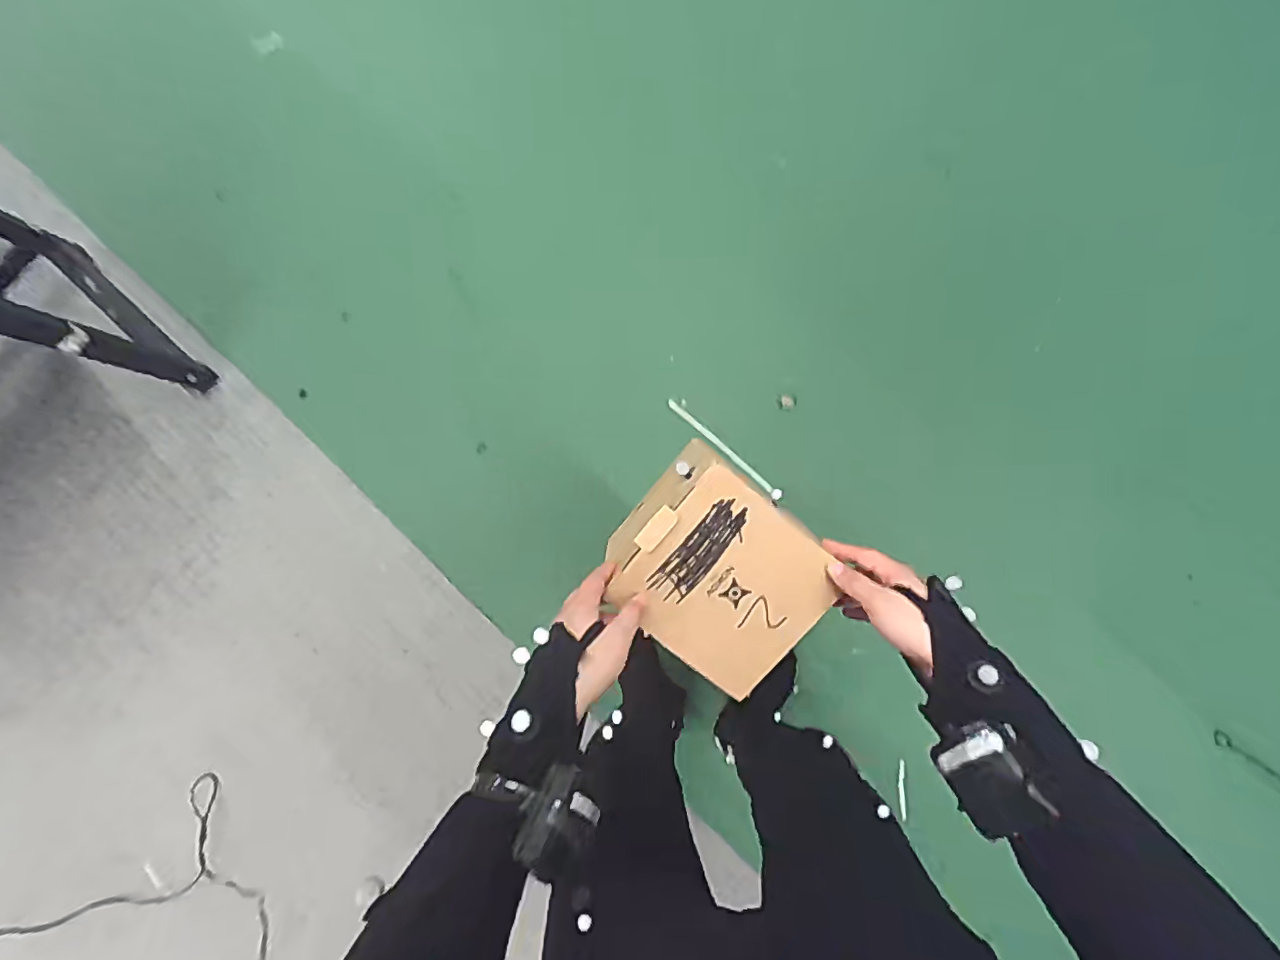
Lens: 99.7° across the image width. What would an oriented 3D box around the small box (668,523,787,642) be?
[{"bbox_3d":[0.180,0.208,1.134,0.179,0.176,0.168,-40,83,0],"label":"small box"}]
